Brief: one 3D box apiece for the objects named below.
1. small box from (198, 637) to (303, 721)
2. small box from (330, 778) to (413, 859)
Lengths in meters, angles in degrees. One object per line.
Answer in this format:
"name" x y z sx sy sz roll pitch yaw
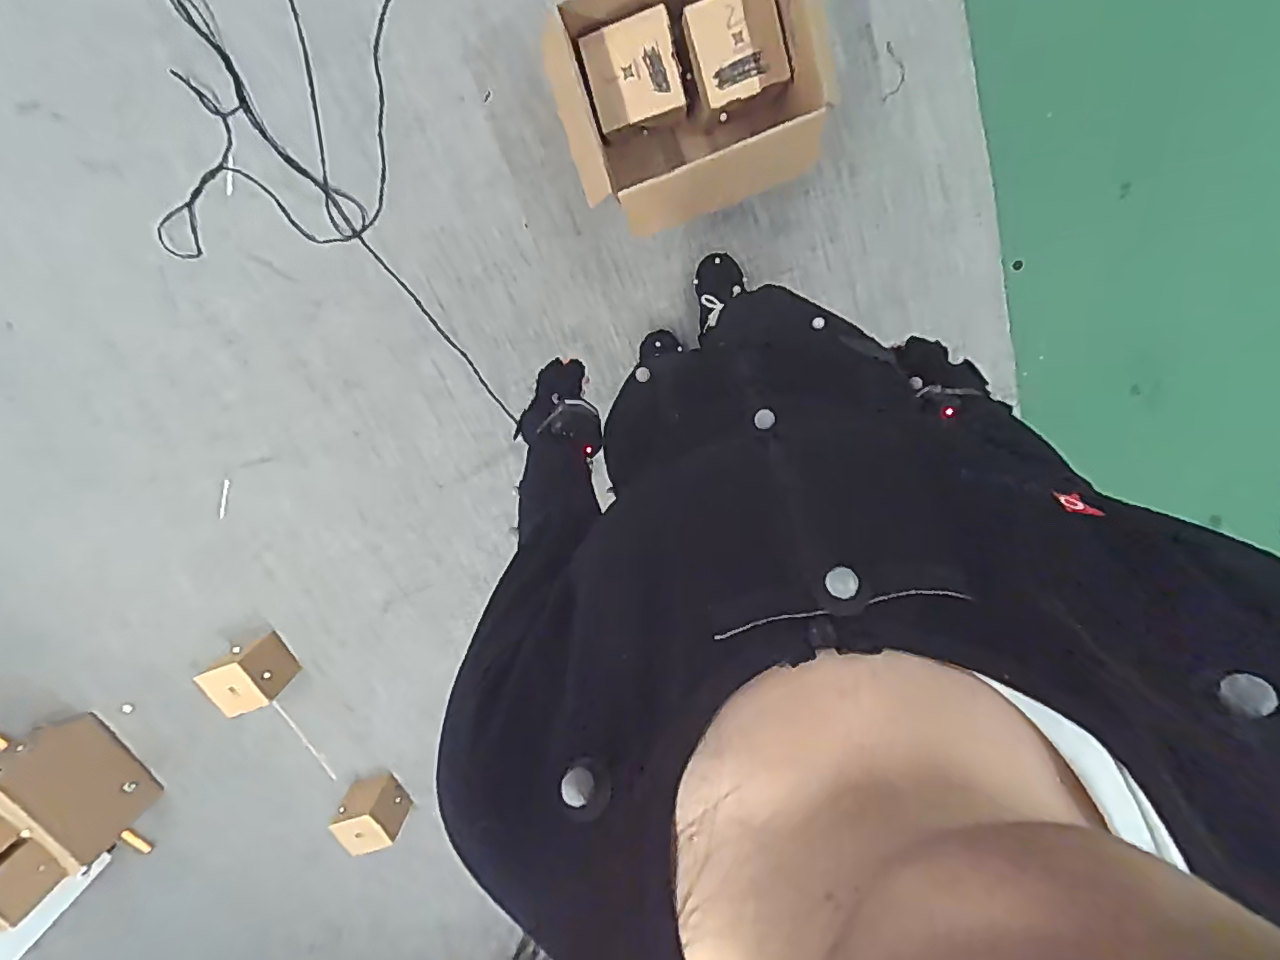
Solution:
"small box" -1.235 0.625 1.727 0.168 0.176 0.179 -21 110 9
"small box" -0.959 1.214 1.945 0.179 0.176 0.168 -21 109 9
